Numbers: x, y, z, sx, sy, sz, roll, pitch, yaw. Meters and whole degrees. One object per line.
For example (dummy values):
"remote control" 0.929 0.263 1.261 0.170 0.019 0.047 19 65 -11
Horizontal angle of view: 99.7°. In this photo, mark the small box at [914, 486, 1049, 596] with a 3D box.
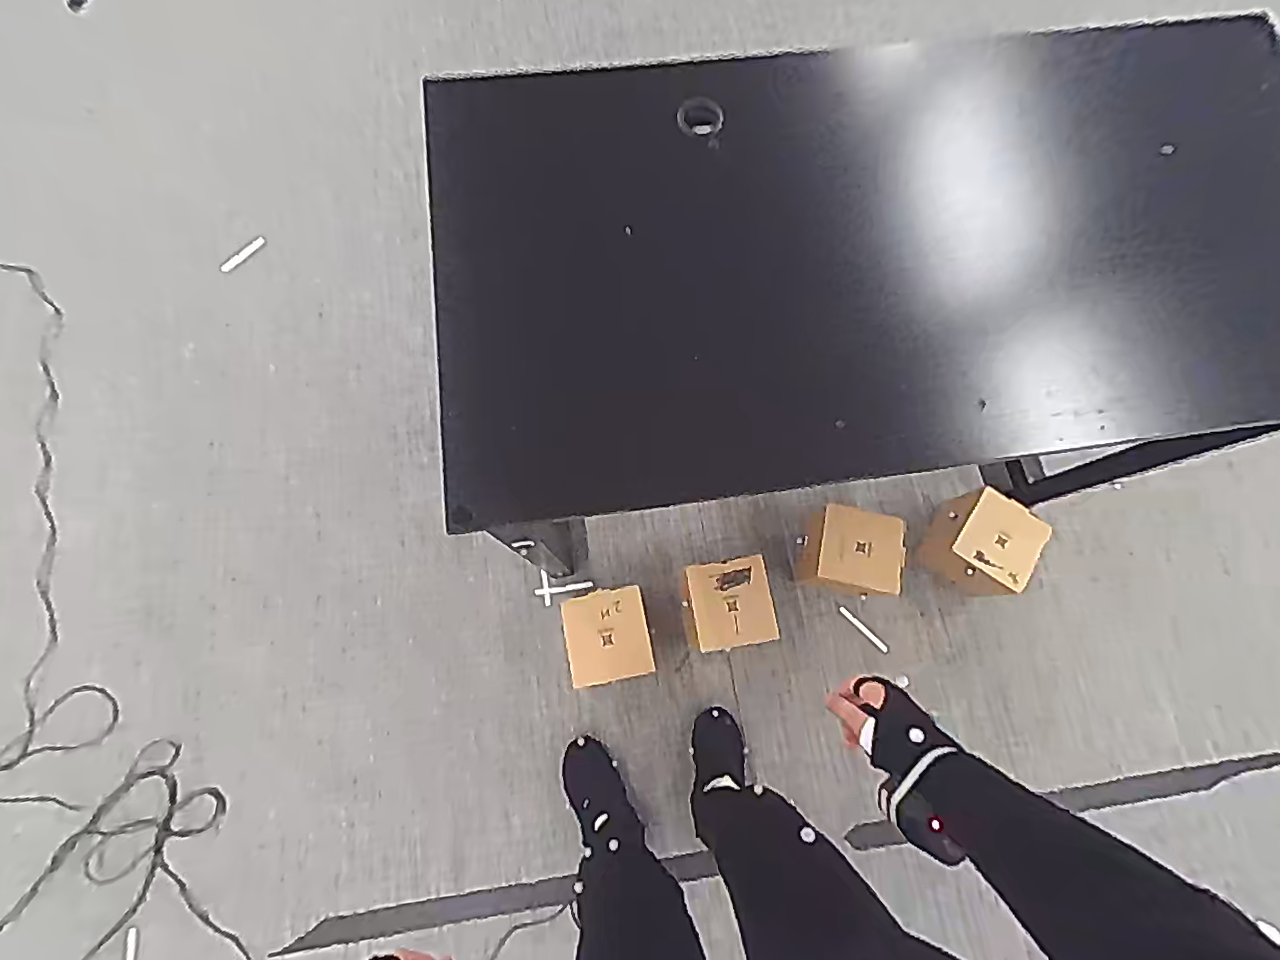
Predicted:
"small box" 0.765 0.145 1.232 0.168 0.176 0.179 34 77 8

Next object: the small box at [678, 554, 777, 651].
"small box" 0.182 0.269 1.183 0.168 0.176 0.179 -9 77 -4

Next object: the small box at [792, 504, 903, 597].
"small box" 0.463 0.166 1.220 0.179 0.176 0.168 12 74 3
